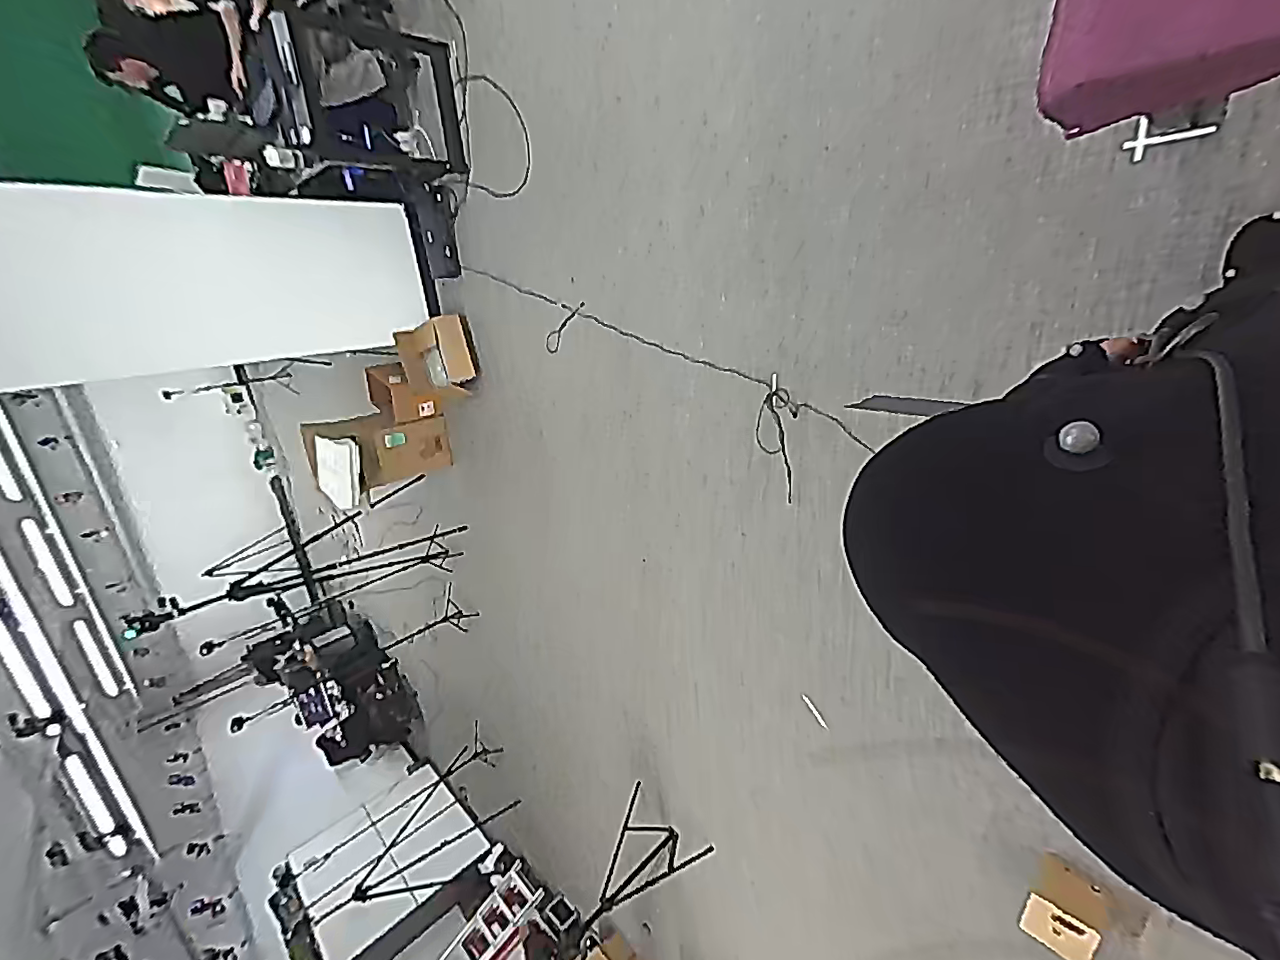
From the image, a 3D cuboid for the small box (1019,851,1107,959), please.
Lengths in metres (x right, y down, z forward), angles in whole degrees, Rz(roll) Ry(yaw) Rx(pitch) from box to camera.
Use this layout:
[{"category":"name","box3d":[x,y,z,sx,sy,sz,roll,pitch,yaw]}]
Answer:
[{"category":"small box","box3d":[1.278,1.280,1.631,0.168,0.176,0.179,20,122,43]}]
